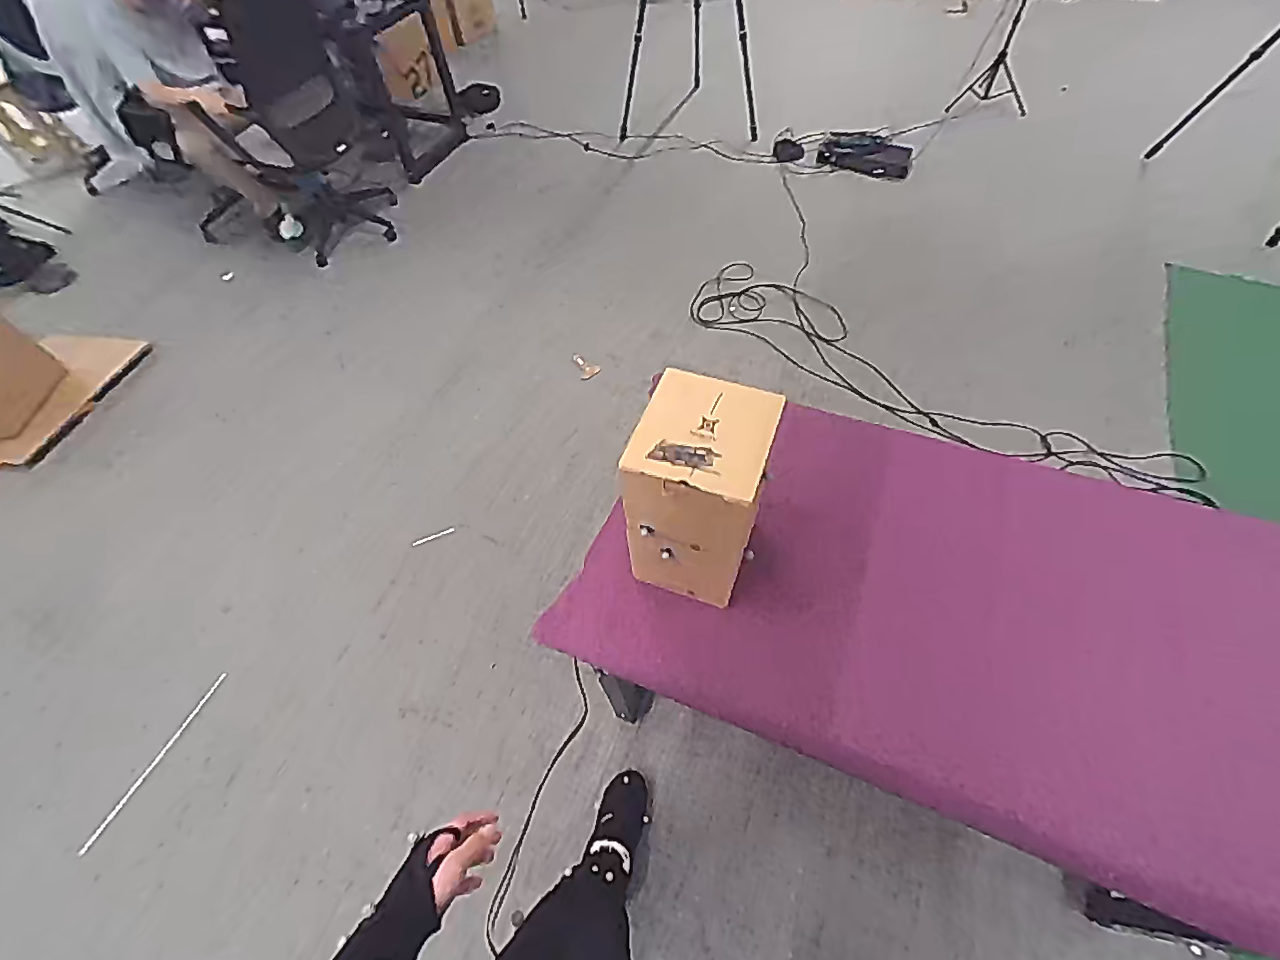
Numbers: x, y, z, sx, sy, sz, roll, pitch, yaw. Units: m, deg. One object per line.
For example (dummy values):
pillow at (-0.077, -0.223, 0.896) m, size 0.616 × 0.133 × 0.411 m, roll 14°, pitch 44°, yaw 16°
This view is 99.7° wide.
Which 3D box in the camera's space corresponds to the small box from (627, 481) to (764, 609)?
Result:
small box at (0.088, 0.078, 0.869) m, size 0.168 × 0.176 × 0.179 m, roll 16°, pitch 58°, yaw 15°

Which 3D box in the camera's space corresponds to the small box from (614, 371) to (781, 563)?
small box at (0.080, -0.013, 0.732) m, size 0.168 × 0.176 × 0.179 m, roll 17°, pitch 58°, yaw 14°
